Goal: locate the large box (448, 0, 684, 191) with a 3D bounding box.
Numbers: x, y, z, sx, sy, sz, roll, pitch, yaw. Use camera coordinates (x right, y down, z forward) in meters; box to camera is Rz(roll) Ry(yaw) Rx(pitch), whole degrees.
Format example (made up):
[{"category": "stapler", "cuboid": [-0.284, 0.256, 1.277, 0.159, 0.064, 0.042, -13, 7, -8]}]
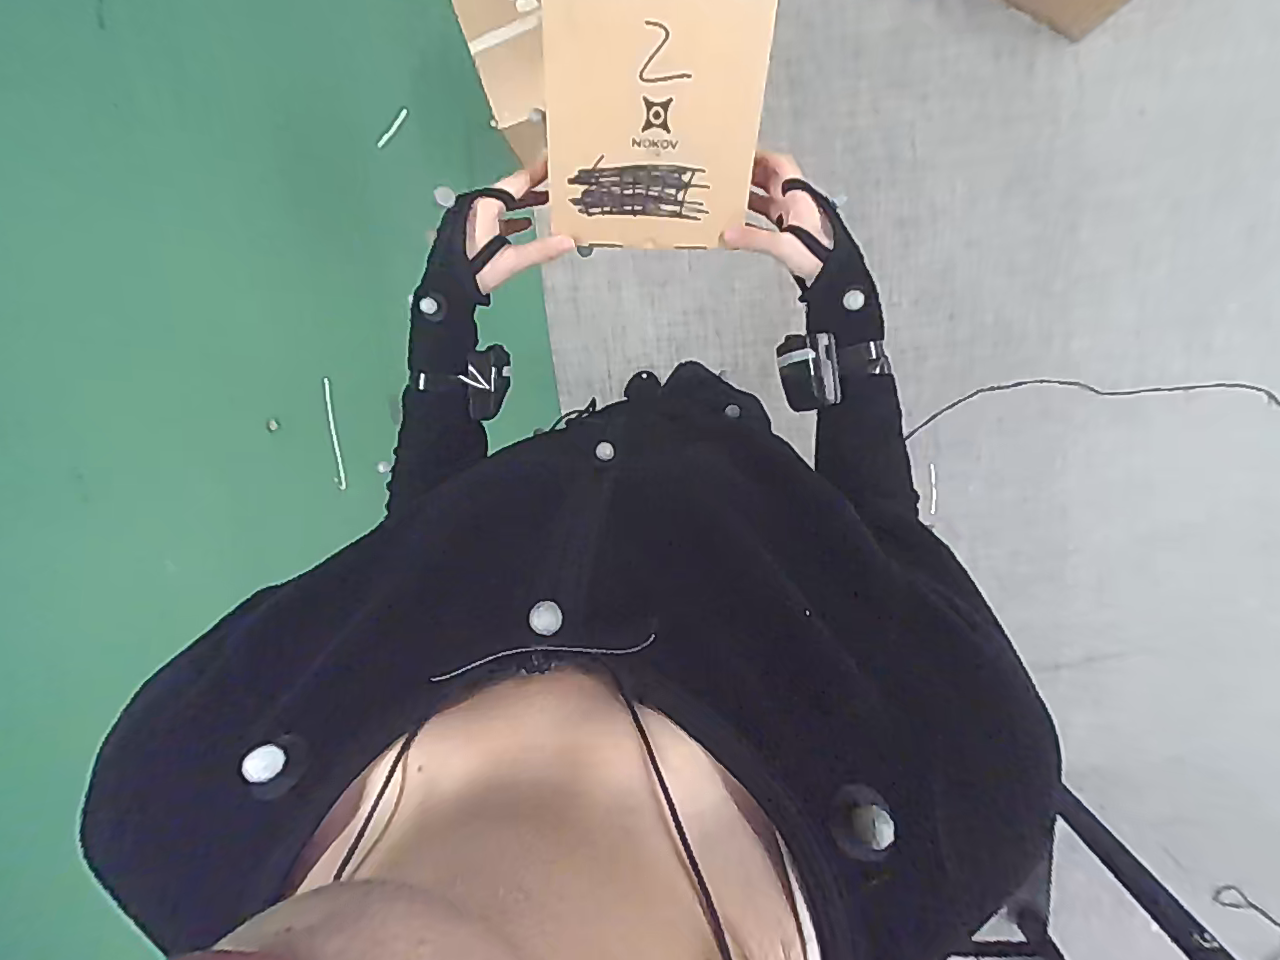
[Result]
[{"category": "large box", "cuboid": [-0.138, -0.920, 1.208, 0.408, 0.320, 0.320, -19, 97, 7]}]
